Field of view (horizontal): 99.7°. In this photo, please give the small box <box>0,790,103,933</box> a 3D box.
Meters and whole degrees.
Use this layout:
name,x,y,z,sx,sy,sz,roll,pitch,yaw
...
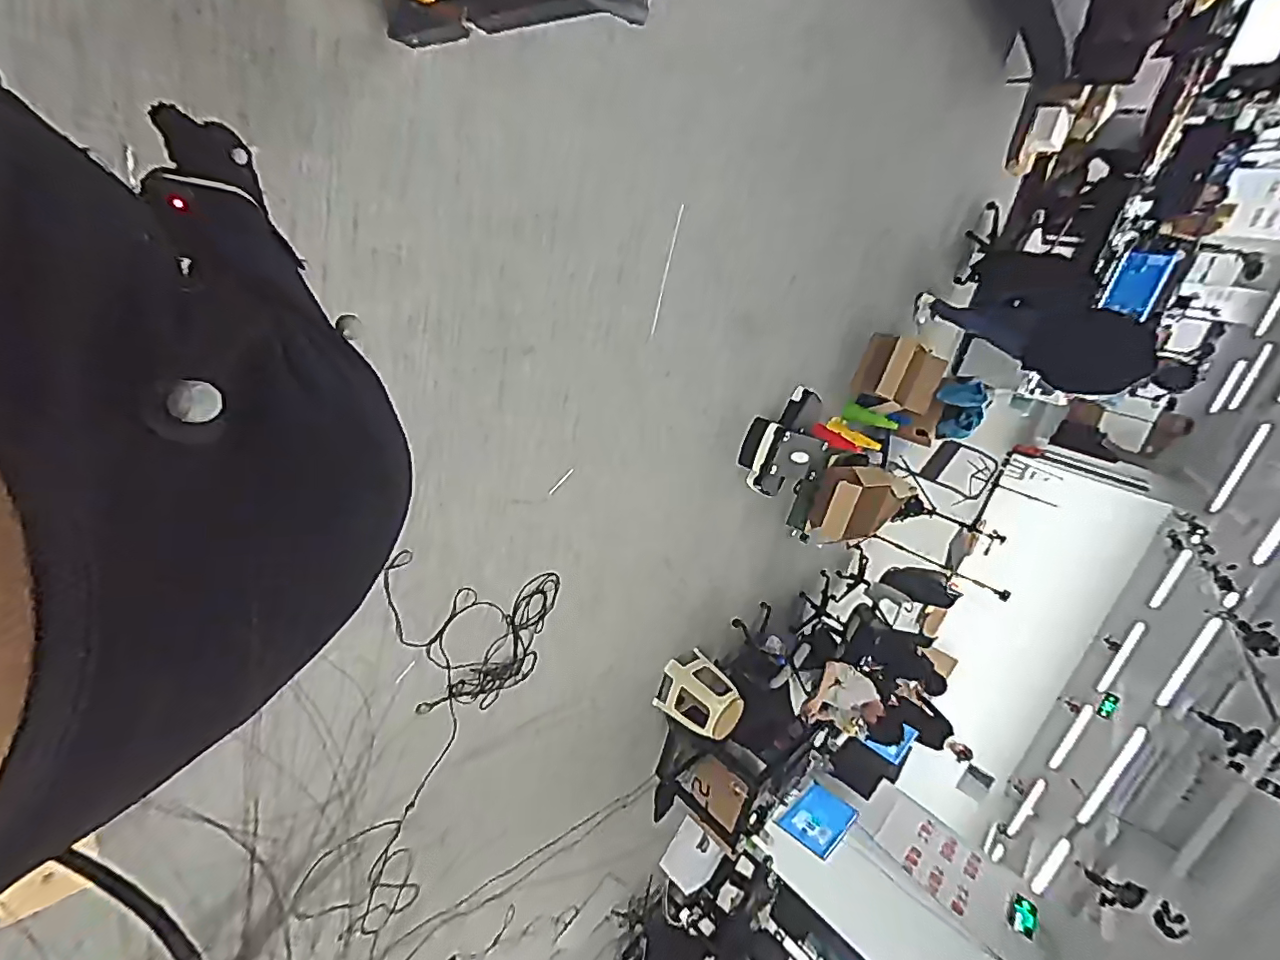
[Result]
name,x,y,z,sx,sy,sz,roll,pitch,yaw
small box,-1.392,0.881,1.267,0.168,0.176,0.179,-11,119,-48
